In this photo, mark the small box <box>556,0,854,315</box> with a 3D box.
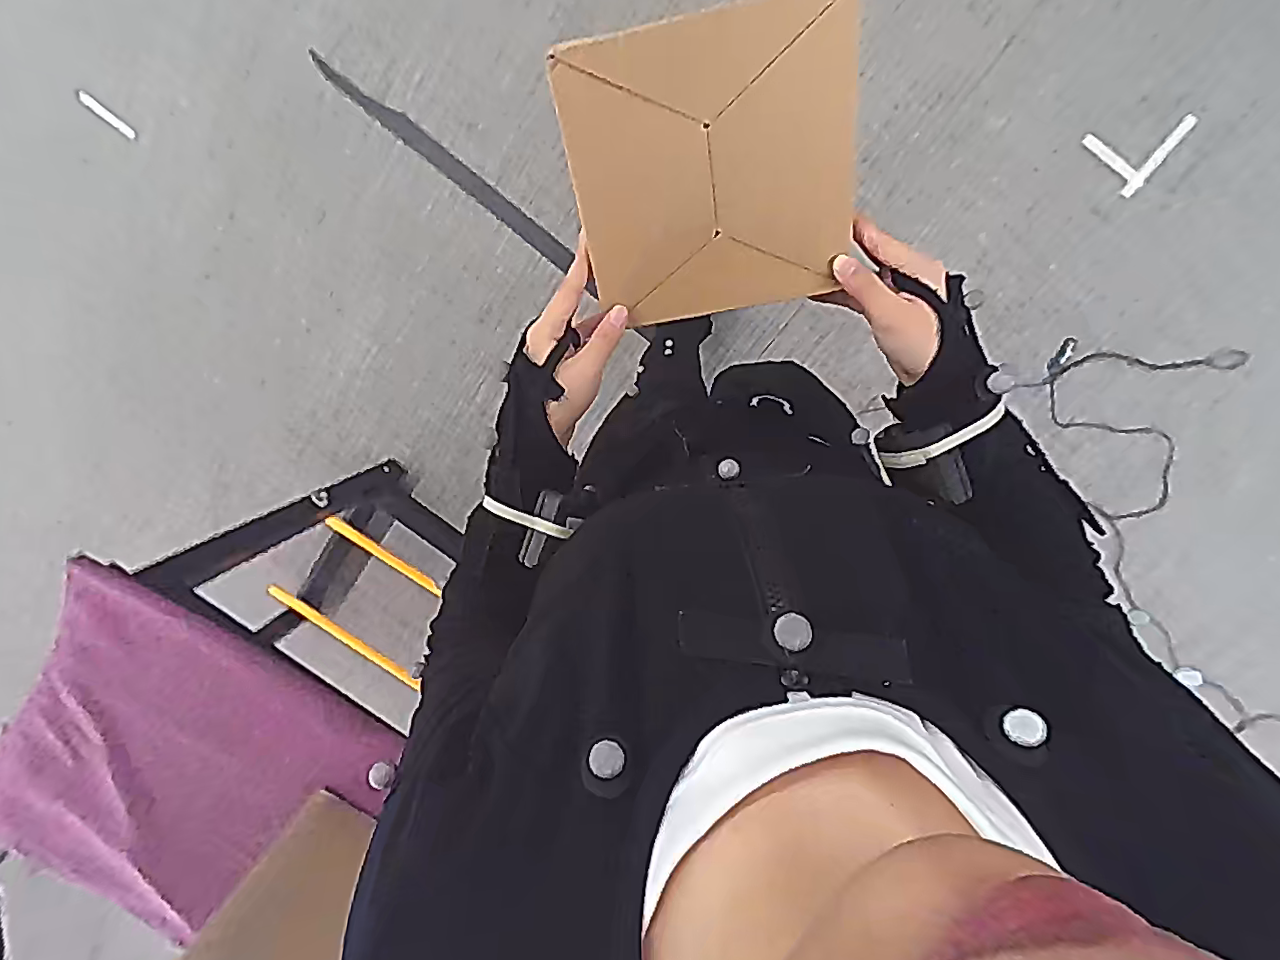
[{"bbox_3d":[0.045,-0.238,0.410,0.179,0.176,0.168,-8,124,7],"label":"small box"}]
